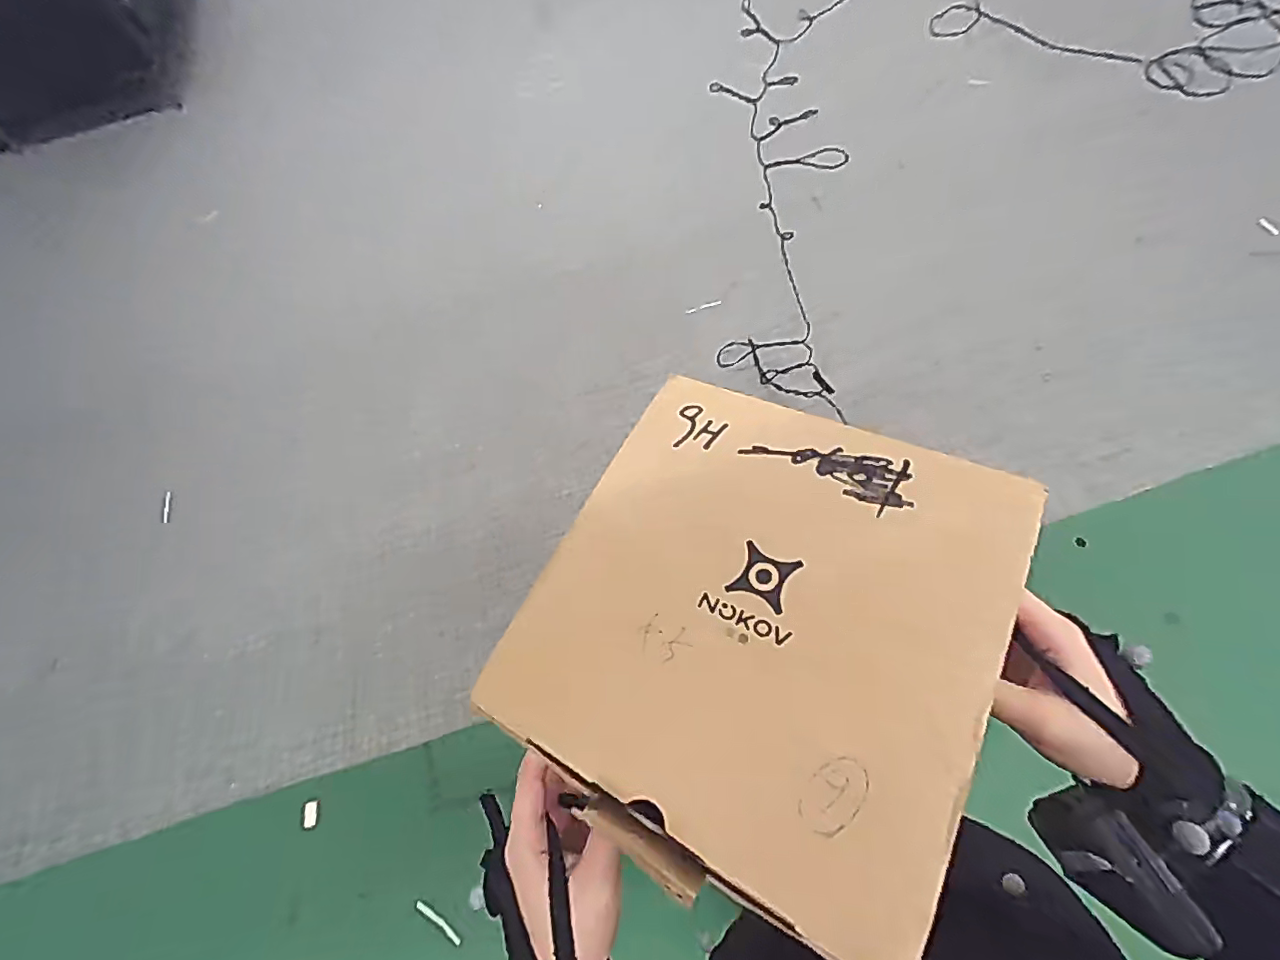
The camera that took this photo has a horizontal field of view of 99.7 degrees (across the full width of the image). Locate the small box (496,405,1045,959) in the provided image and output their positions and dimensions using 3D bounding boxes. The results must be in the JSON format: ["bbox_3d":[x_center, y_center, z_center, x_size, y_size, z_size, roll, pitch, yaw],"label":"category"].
[{"bbox_3d":[0.067,0.096,0.283,0.168,0.176,0.179,22,68,24],"label":"small box"}]
